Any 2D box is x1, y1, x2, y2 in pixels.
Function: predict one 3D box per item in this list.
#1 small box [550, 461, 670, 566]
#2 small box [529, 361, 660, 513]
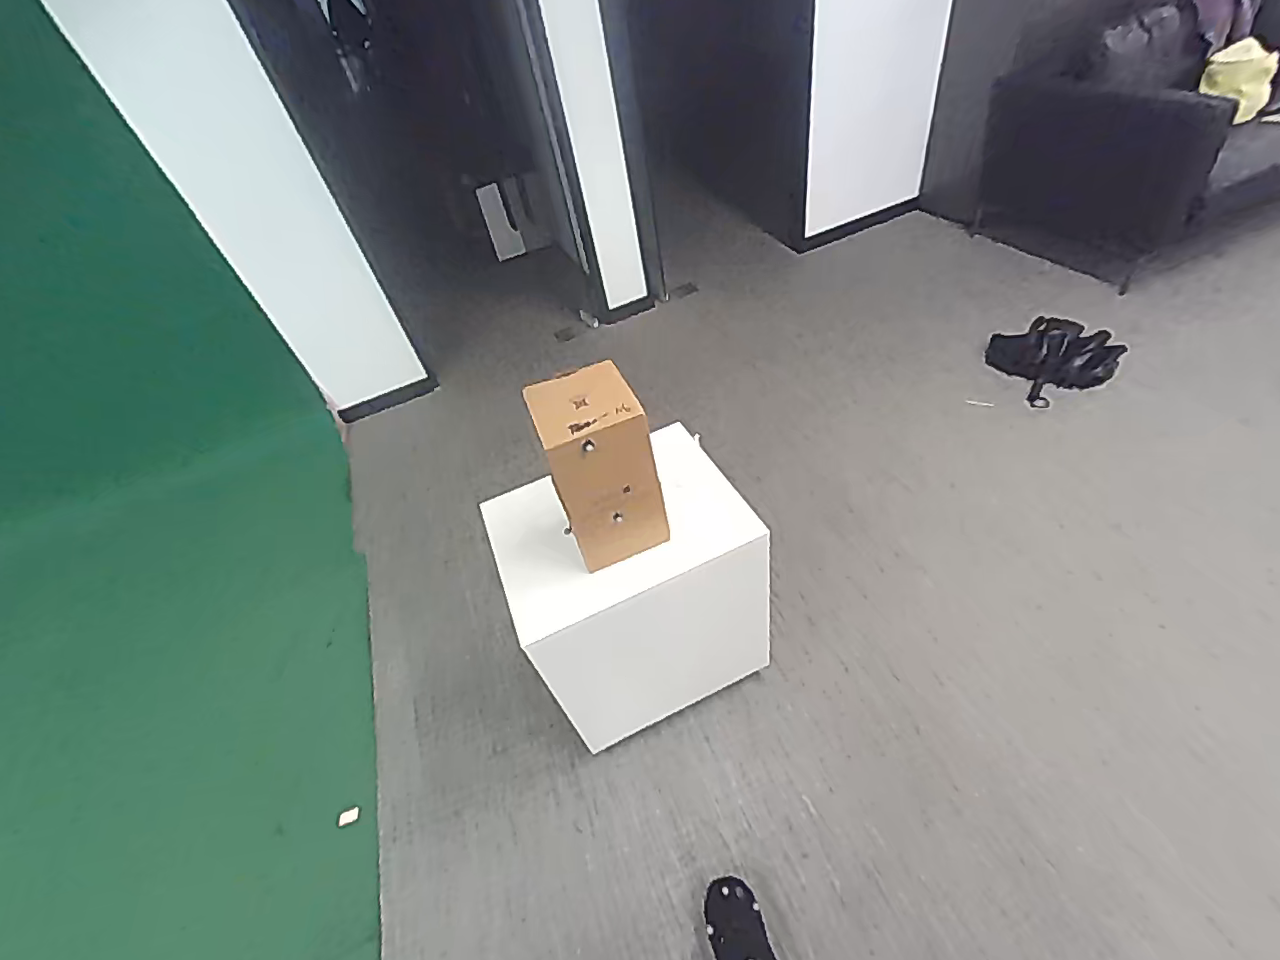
[{"bbox_3d":[-0.055,0.039,1.058,0.179,0.176,0.168,-21,46,-9],"label":"small box"},{"bbox_3d":[-0.078,-0.074,0.945,0.168,0.176,0.179,-22,46,-10],"label":"small box"}]
